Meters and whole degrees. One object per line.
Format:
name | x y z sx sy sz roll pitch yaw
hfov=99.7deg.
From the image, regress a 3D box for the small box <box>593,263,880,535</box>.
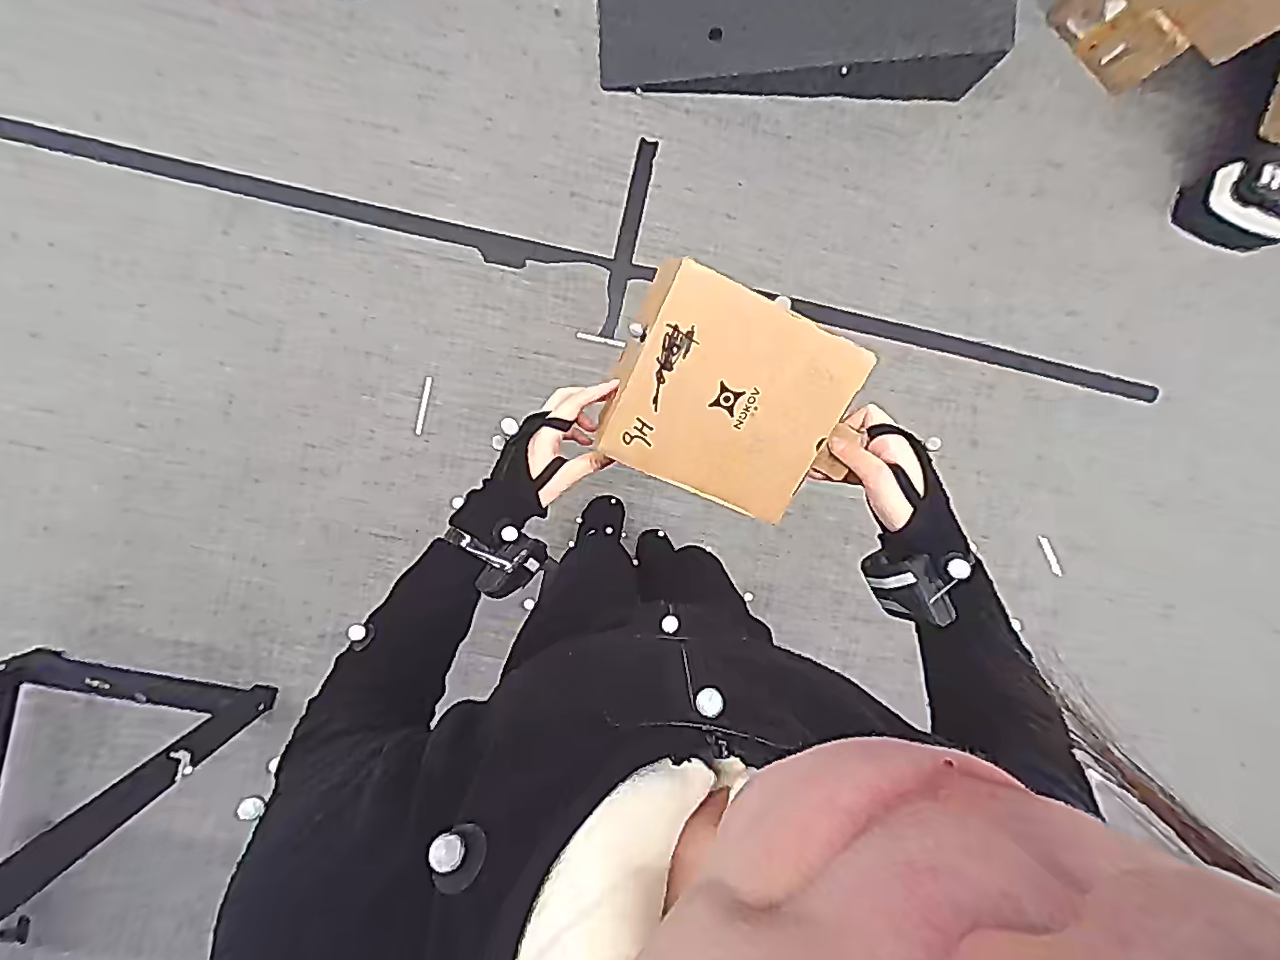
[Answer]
small box | 0.069 -0.081 0.494 0.179 0.176 0.168 24 106 -12
